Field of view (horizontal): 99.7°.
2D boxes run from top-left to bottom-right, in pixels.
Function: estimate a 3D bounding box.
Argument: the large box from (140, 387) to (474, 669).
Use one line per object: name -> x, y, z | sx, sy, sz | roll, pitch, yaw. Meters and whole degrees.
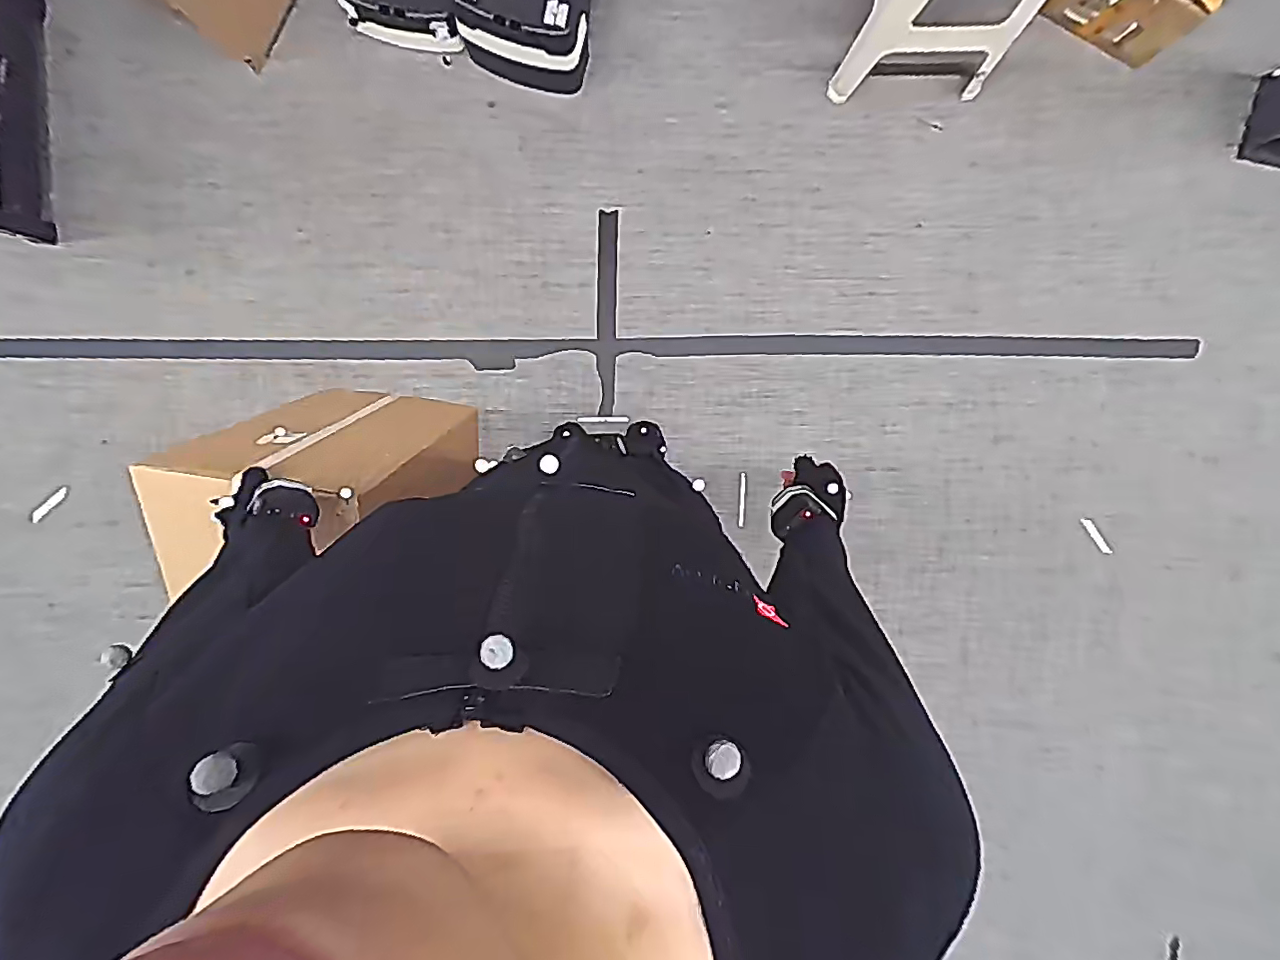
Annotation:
large box -> -0.511, 0.055, 0.949 | 0.320, 0.408, 0.320 | 7, 116, 4
